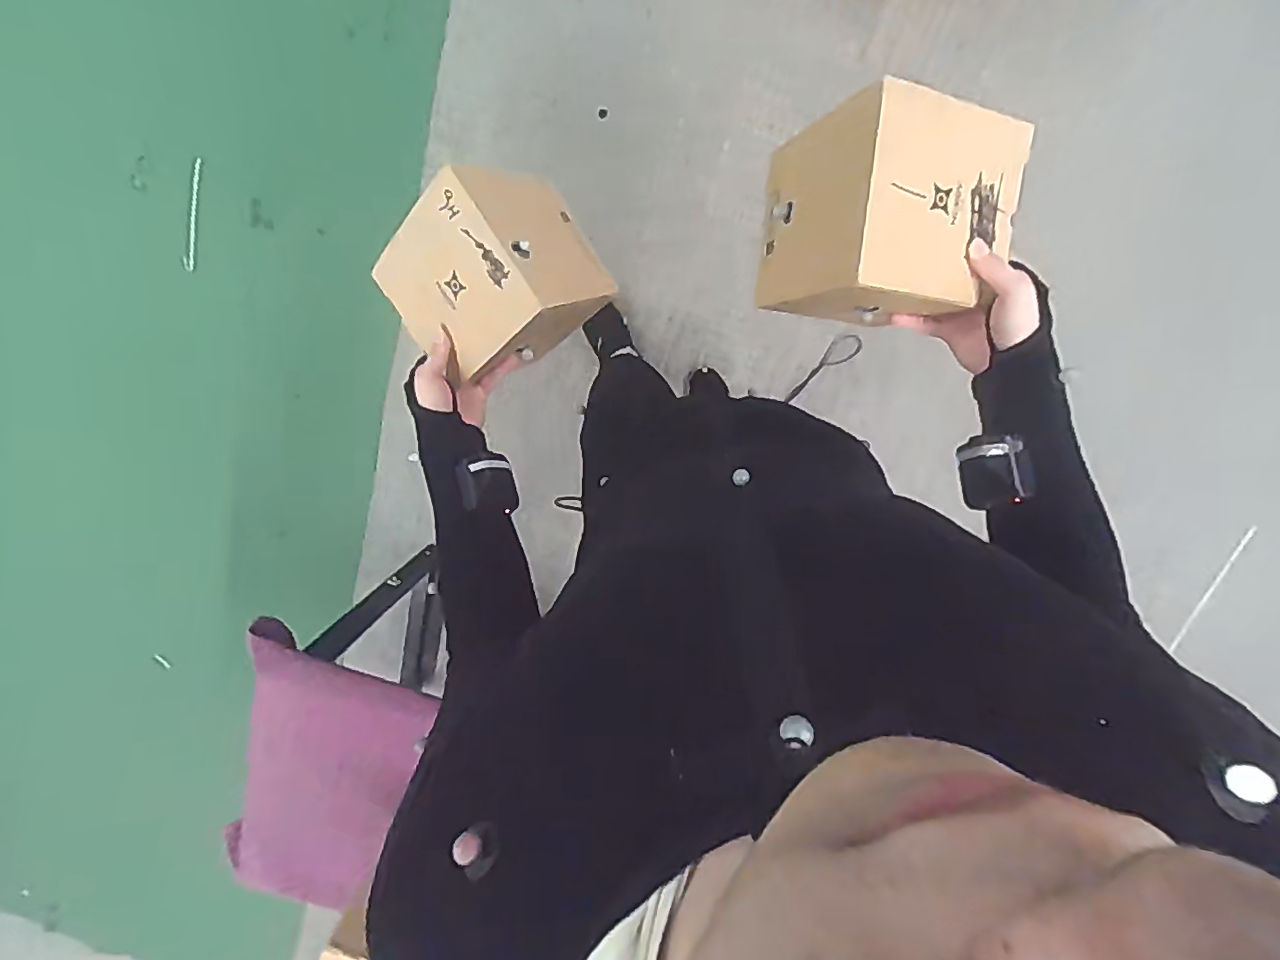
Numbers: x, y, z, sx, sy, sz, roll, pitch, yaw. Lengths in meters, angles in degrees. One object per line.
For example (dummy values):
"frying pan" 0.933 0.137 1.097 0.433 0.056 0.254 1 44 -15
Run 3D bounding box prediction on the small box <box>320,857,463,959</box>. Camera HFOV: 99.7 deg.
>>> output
"small box" -0.417 0.784 0.904 0.168 0.176 0.179 19 106 1

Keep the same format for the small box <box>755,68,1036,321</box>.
"small box" 0.243 -0.260 0.547 0.179 0.176 0.168 3 98 -19

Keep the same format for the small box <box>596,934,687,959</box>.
"small box" -0.011 0.913 0.893 0.168 0.176 0.179 11 105 4

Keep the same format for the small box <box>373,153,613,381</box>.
"small box" -0.165 -0.242 0.637 0.179 0.176 0.168 -28 97 35

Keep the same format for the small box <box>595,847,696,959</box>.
"small box" 0.012 0.868 1.048 0.168 0.176 0.179 13 106 3
